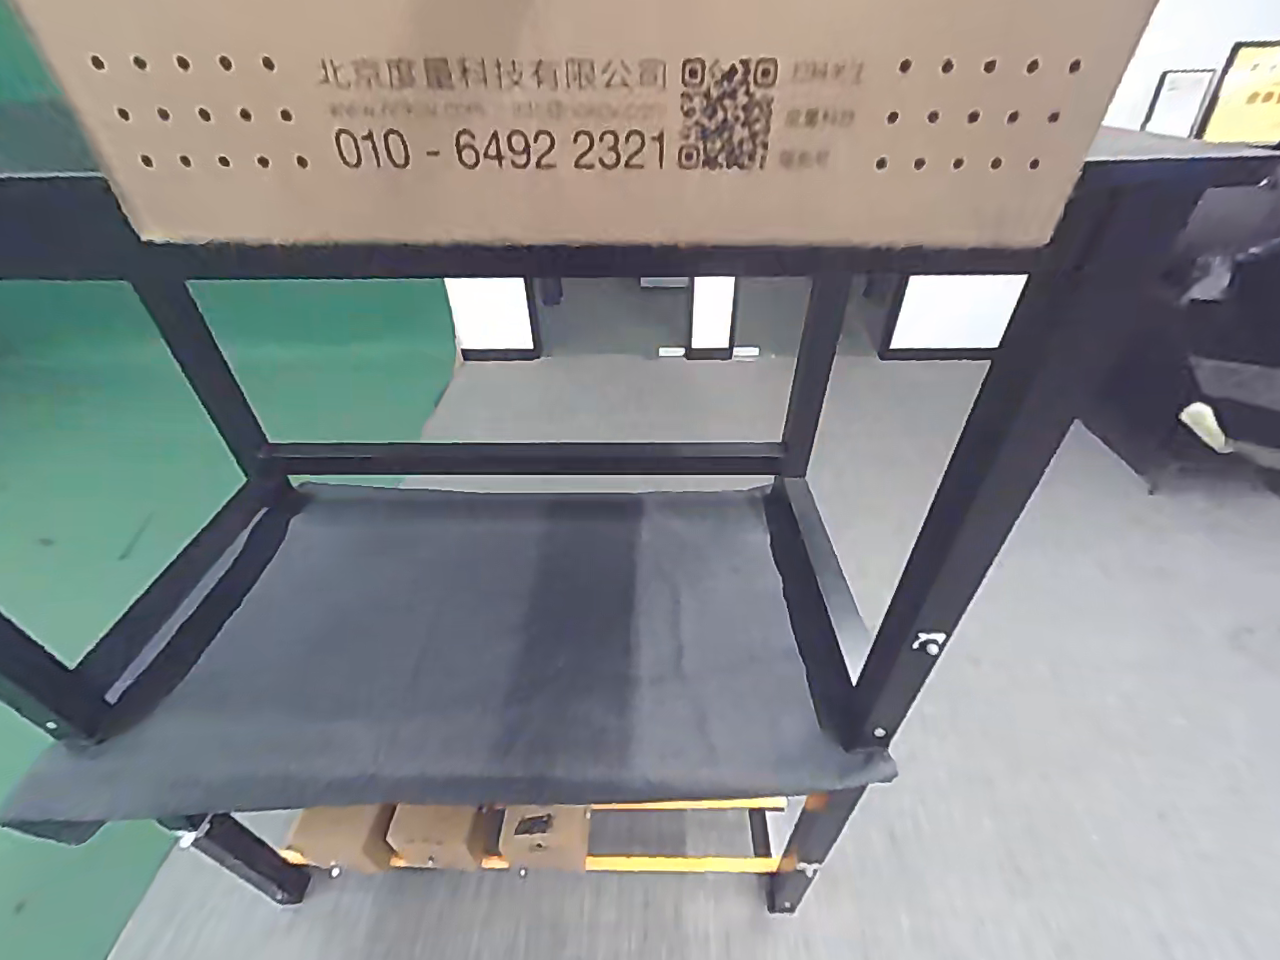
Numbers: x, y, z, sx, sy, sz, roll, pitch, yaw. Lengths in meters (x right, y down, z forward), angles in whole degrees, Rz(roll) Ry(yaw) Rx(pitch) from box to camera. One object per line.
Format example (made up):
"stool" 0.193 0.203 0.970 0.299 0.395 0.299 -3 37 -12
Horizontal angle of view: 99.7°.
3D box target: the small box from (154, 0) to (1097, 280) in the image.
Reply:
"small box" -0.006 -0.160 0.128 0.168 0.176 0.179 0 39 0
